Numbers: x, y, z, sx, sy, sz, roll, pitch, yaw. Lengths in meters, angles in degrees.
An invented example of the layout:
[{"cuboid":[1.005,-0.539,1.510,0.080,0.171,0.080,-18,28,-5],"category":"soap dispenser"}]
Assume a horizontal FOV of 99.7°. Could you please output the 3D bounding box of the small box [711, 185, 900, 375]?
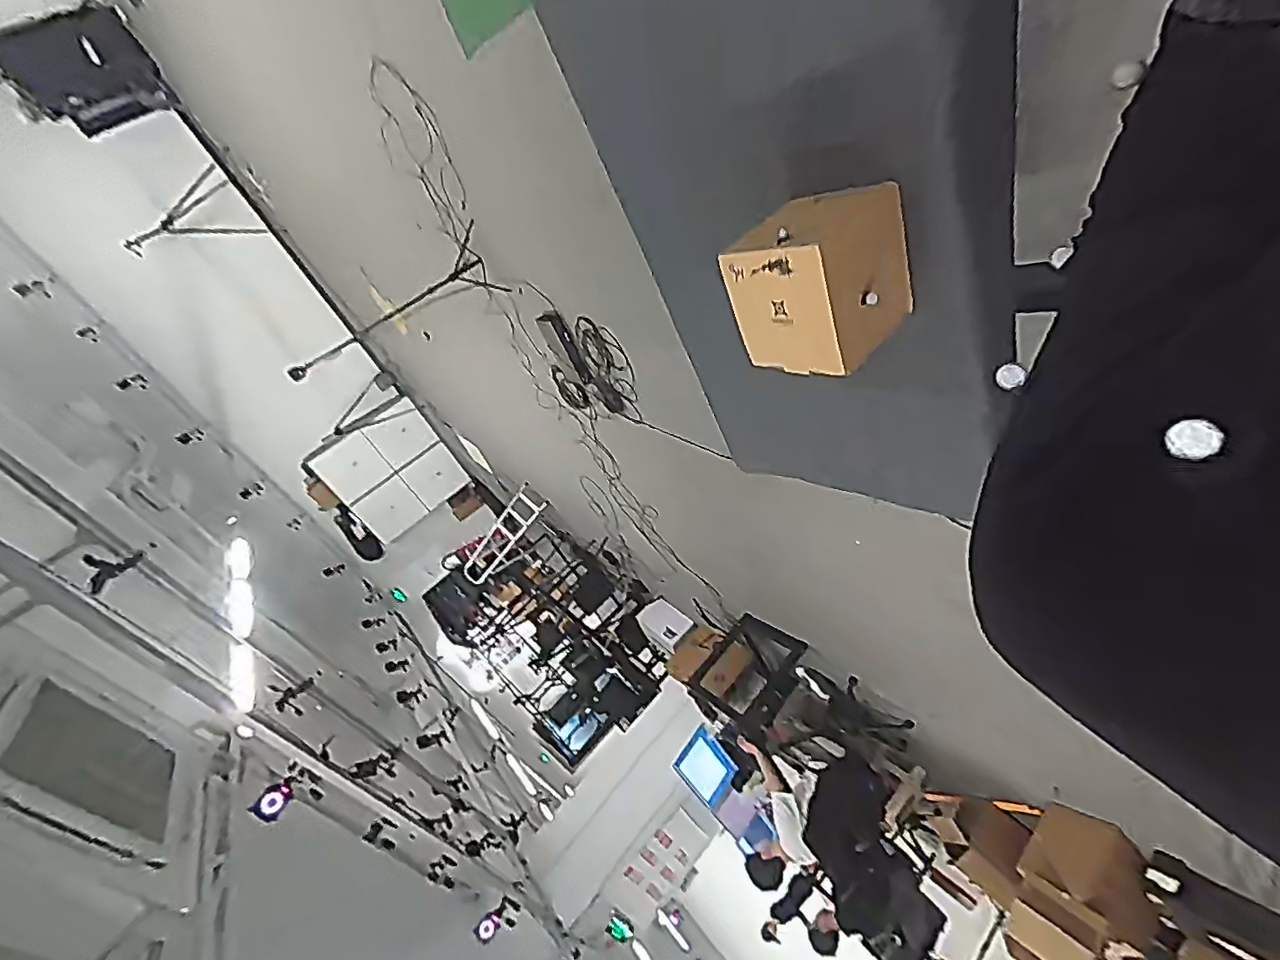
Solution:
[{"cuboid":[0.234,-0.272,0.744,0.168,0.176,0.179,23,148,49],"category":"small box"}]
